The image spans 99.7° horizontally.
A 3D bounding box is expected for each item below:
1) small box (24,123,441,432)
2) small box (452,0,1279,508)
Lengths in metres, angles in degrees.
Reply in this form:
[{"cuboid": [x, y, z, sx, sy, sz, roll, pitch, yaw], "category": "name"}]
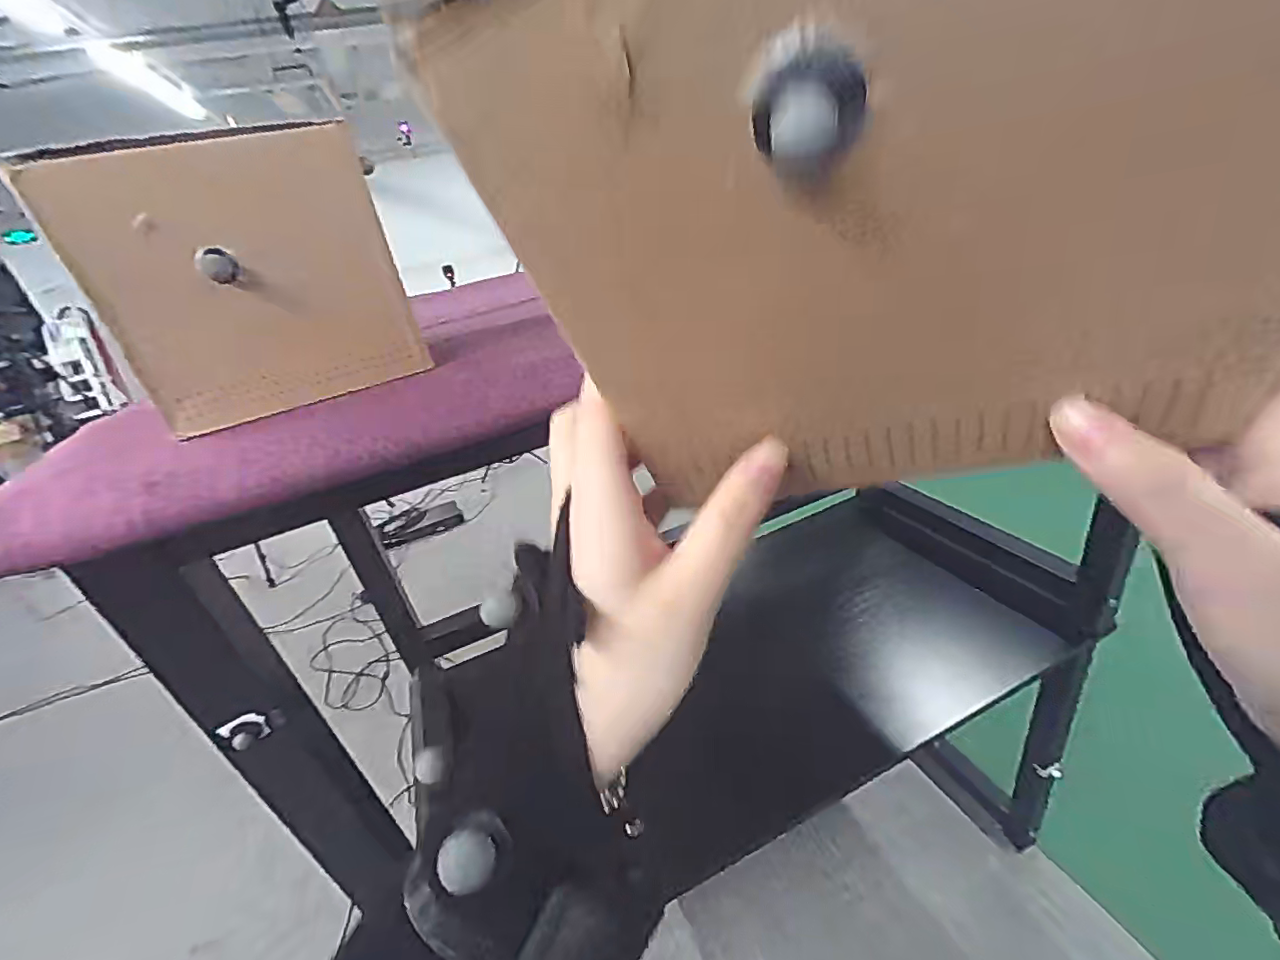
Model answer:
[{"cuboid": [-0.280, -0.154, 0.422, 0.179, 0.176, 0.168, -23, 32, -20], "category": "small box"}, {"cuboid": [0.079, -0.104, 0.188, 0.179, 0.176, 0.168, -8, 49, 23], "category": "small box"}]
